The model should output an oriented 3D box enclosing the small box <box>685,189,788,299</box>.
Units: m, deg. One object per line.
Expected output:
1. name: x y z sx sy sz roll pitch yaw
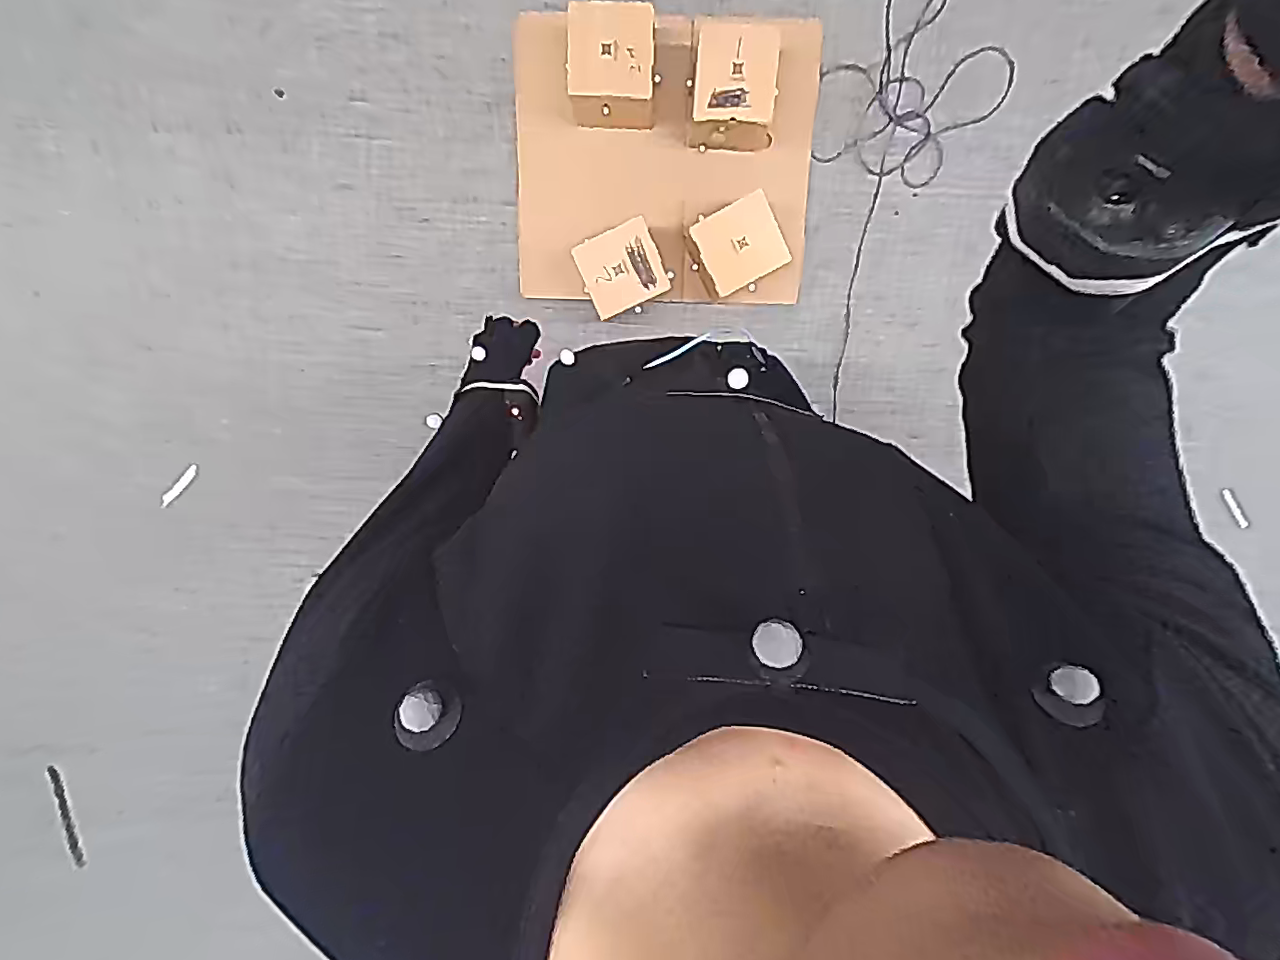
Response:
1. small box: 0.217 -0.539 1.259 0.179 0.176 0.168 -27 102 9
